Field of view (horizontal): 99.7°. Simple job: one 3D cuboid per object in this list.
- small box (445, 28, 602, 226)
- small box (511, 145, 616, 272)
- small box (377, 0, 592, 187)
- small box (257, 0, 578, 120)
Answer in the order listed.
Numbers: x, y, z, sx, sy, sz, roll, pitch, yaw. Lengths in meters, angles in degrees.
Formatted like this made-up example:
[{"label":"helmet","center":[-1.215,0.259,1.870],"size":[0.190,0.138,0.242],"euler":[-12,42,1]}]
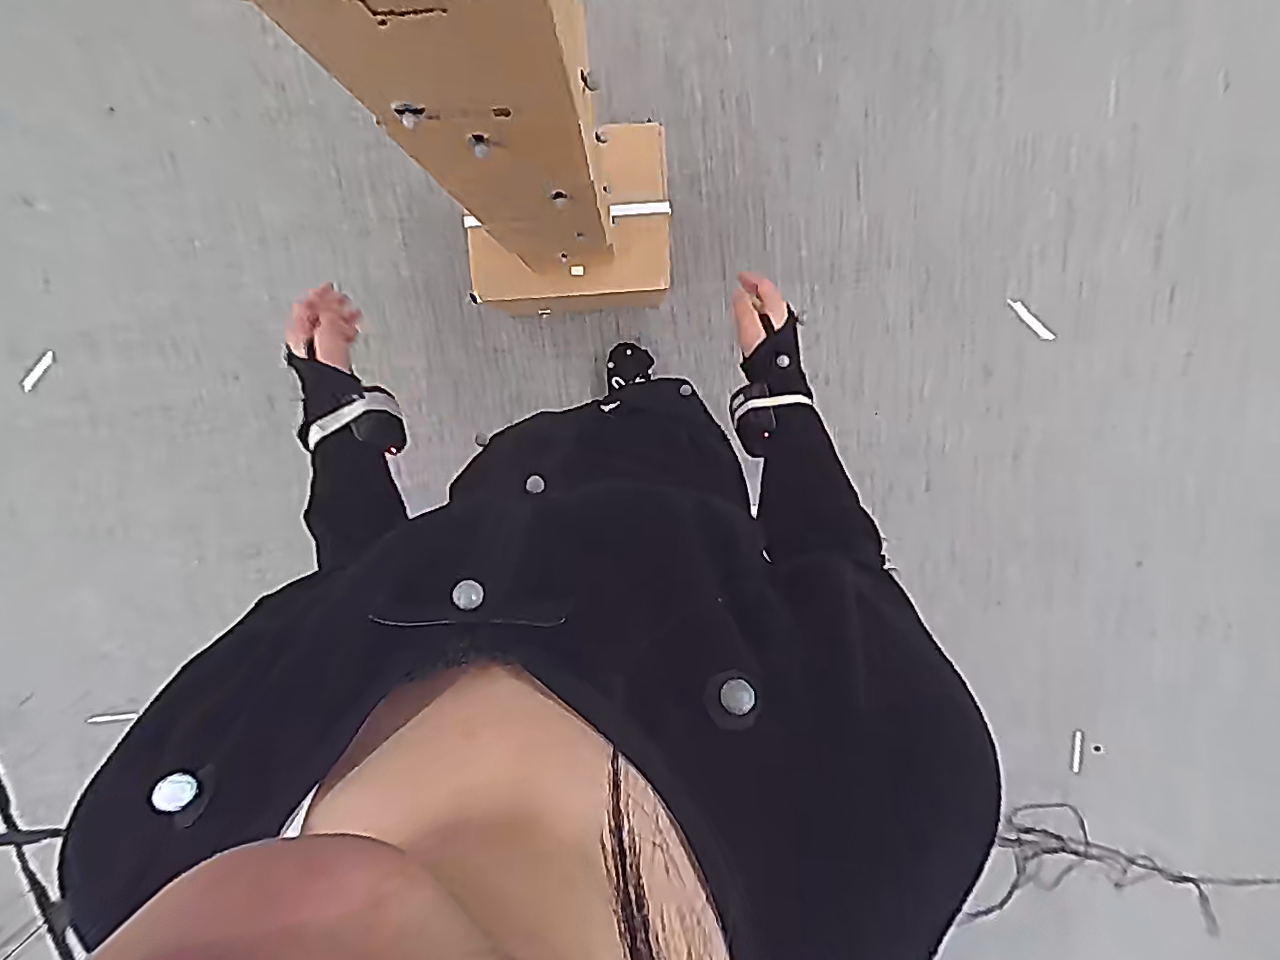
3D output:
[{"label":"small box","center":[-0.139,-0.428,0.679],"size":[0.179,0.176,0.168],"euler":[-2,101,0]},{"label":"small box","center":[-0.140,-0.491,1.001],"size":[0.179,0.176,0.168],"euler":[-6,102,0]},{"label":"small box","center":[-0.138,-0.396,0.520],"size":[0.179,0.176,0.168],"euler":[-2,102,0]},{"label":"small box","center":[-0.134,-0.365,0.359],"size":[0.168,0.176,0.179],"euler":[-2,101,0]}]
